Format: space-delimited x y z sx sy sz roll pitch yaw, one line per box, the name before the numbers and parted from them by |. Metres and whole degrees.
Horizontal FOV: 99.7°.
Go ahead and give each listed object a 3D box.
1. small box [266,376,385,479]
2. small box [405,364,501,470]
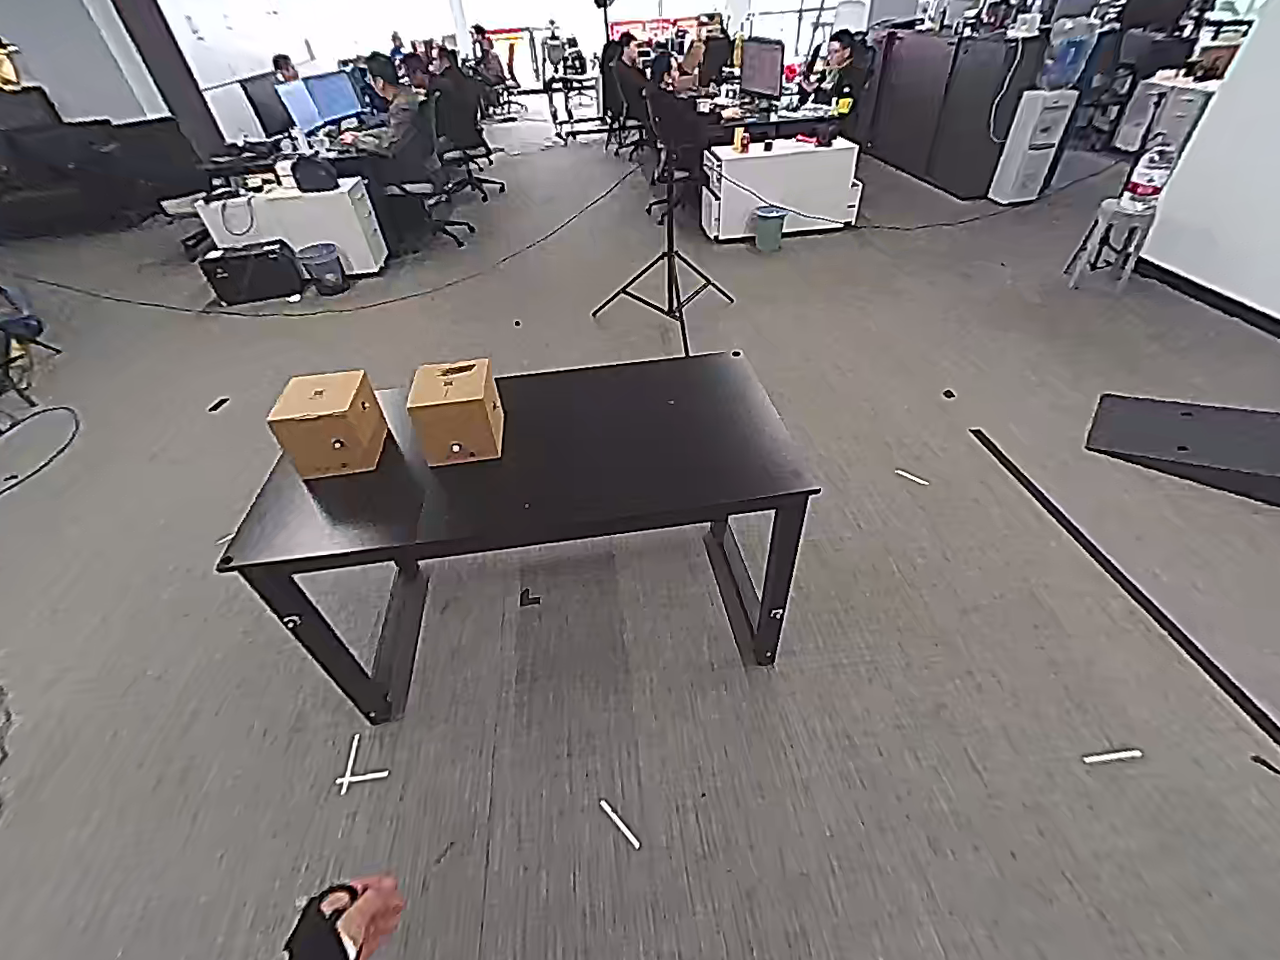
small box | -0.710 -0.116 1.246 0.168 0.176 0.179 -7 41 -6
small box | -0.425 -0.147 1.259 0.168 0.176 0.179 -8 43 -4
